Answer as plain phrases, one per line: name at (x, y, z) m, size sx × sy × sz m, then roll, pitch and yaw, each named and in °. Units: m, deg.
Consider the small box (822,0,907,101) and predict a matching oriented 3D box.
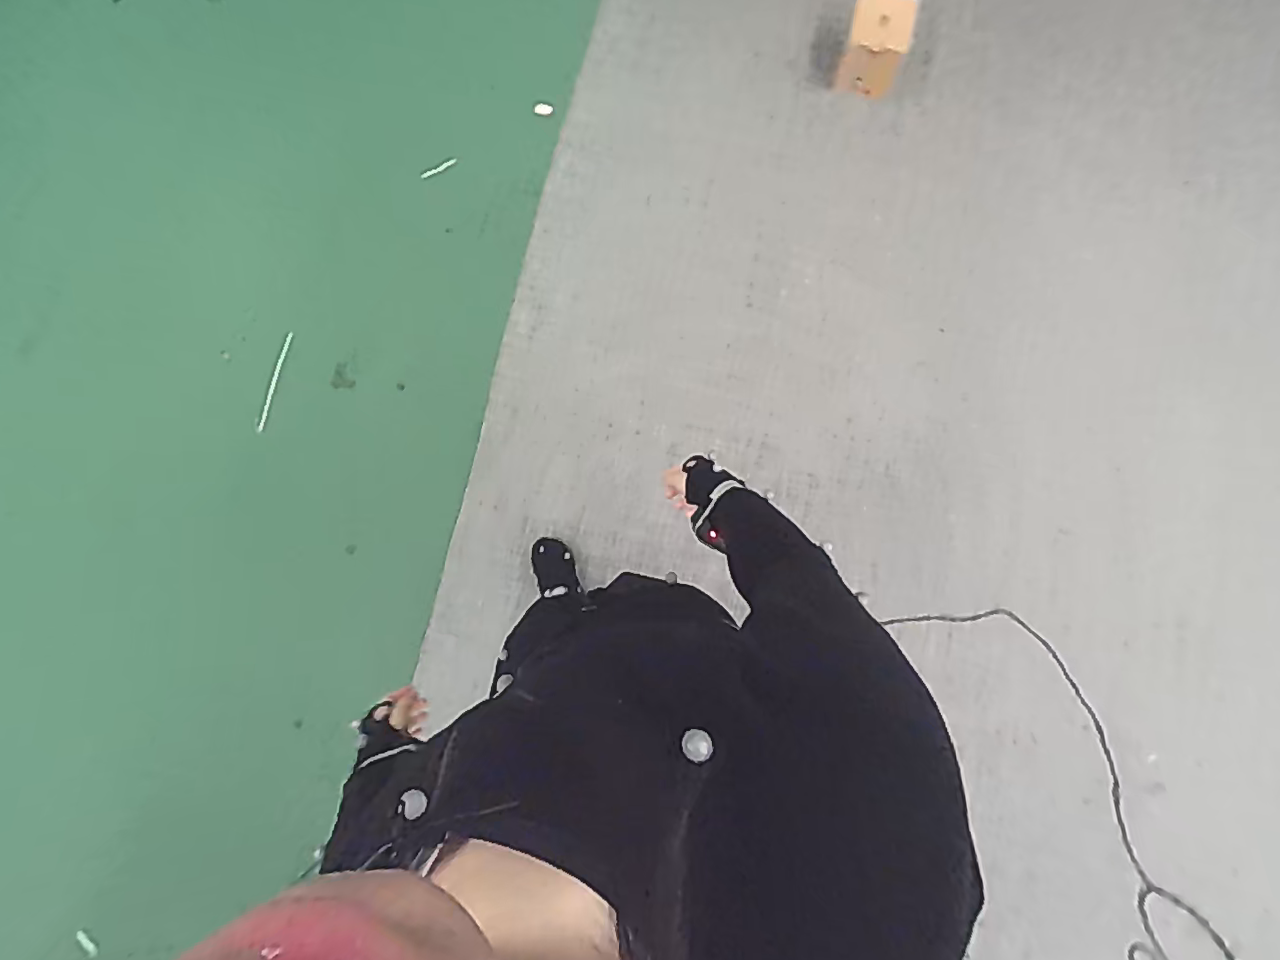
small box at (0.648, -1.264, 1.578) m, size 0.168 × 0.176 × 0.179 m, roll 13°, pitch 85°, yaw 4°
